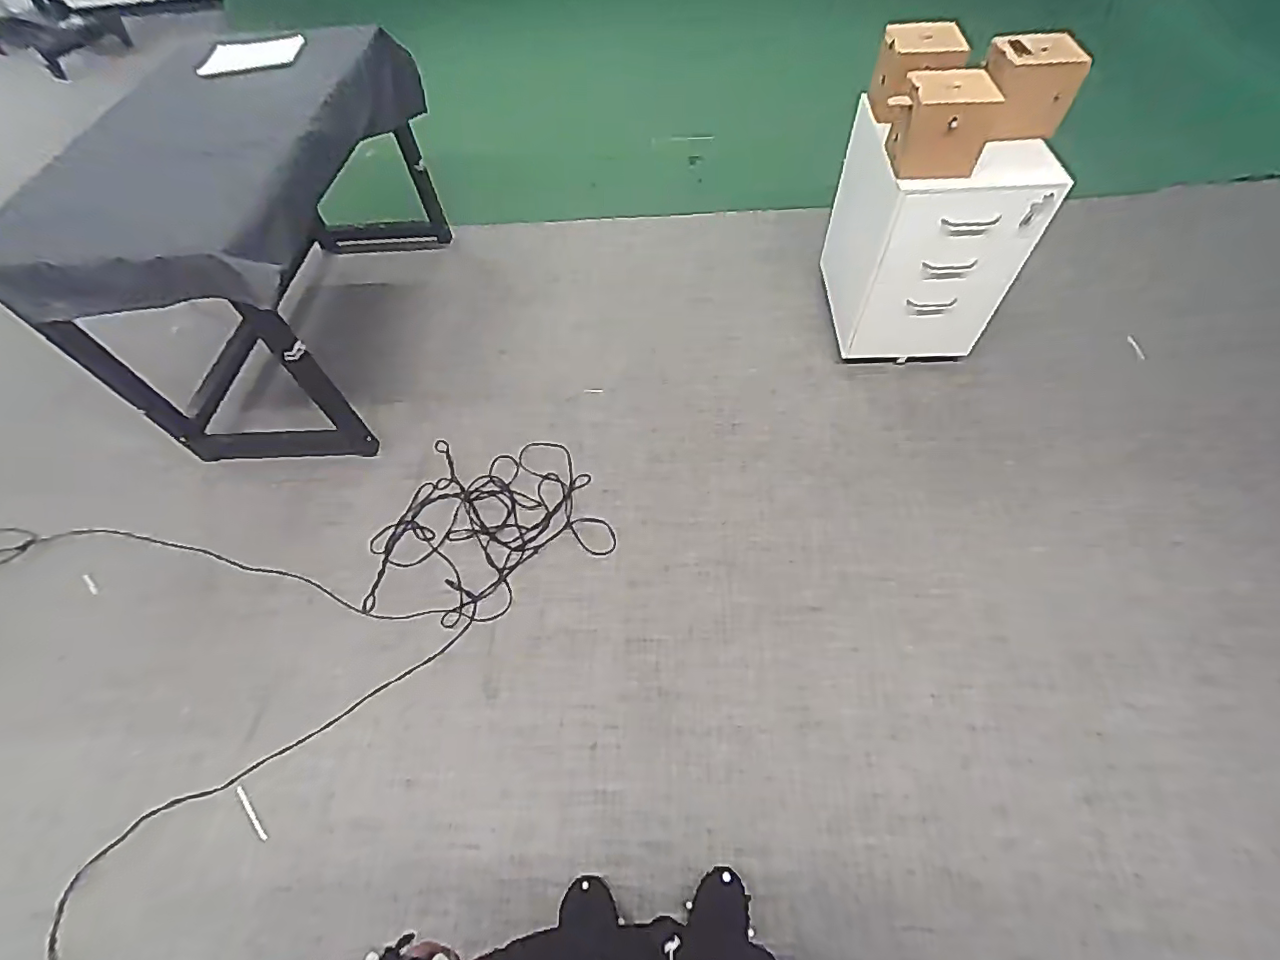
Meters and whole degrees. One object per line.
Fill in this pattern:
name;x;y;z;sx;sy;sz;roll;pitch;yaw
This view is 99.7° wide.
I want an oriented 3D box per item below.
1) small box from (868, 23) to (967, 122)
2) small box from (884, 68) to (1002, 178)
small box;0.721;-1.073;1.431;0.179;0.176;0.168;1;59;3
small box;0.707;-0.841;1.282;0.179;0.176;0.168;0;57;4
